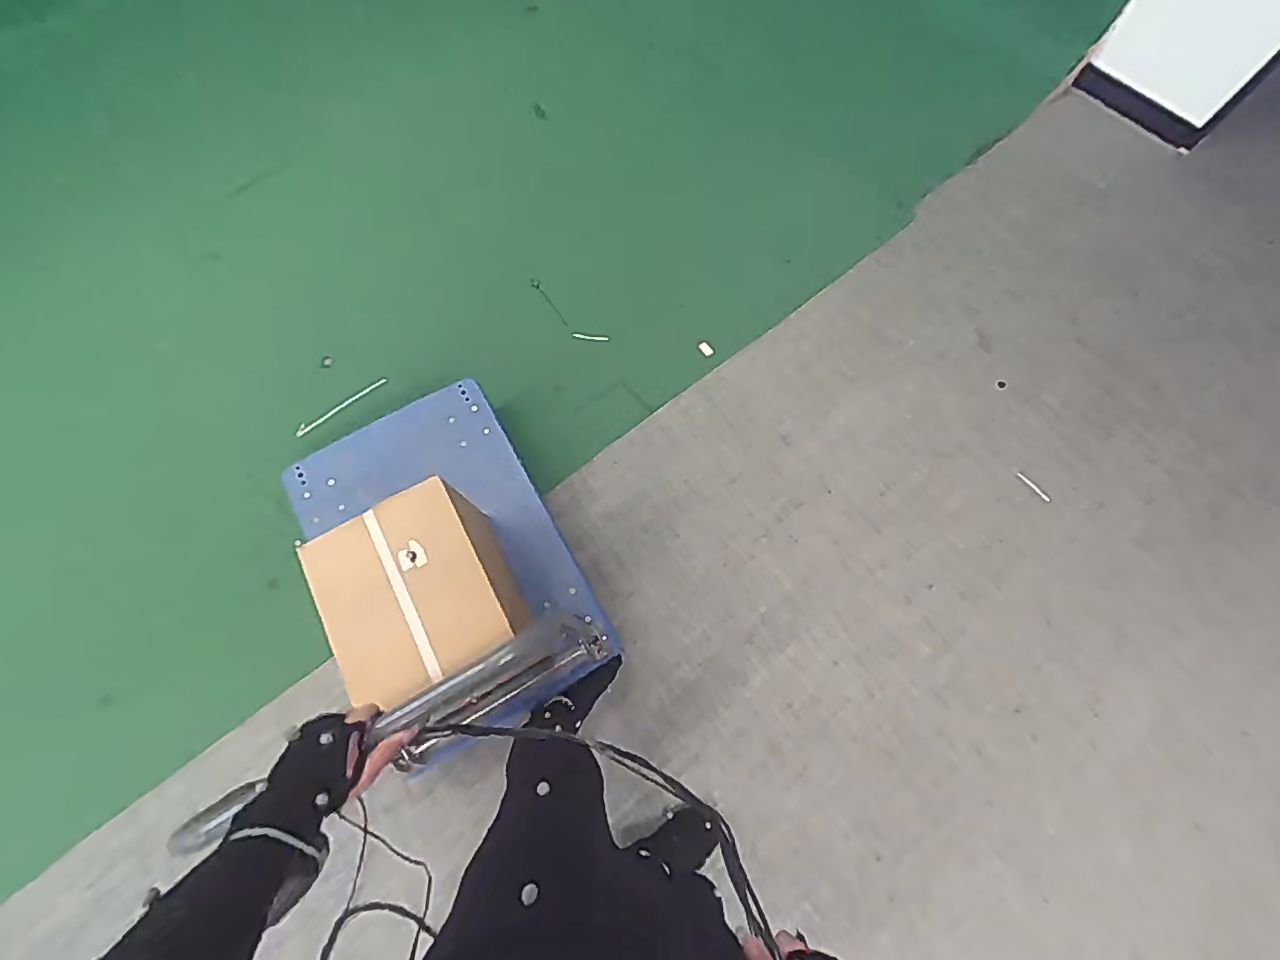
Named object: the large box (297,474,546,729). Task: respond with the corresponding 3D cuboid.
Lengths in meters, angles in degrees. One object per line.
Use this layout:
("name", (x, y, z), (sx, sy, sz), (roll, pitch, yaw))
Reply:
("large box", (-0.452, 0.265, 1.184), (0.320, 0.320, 0.408), (-28, 73, -8))
